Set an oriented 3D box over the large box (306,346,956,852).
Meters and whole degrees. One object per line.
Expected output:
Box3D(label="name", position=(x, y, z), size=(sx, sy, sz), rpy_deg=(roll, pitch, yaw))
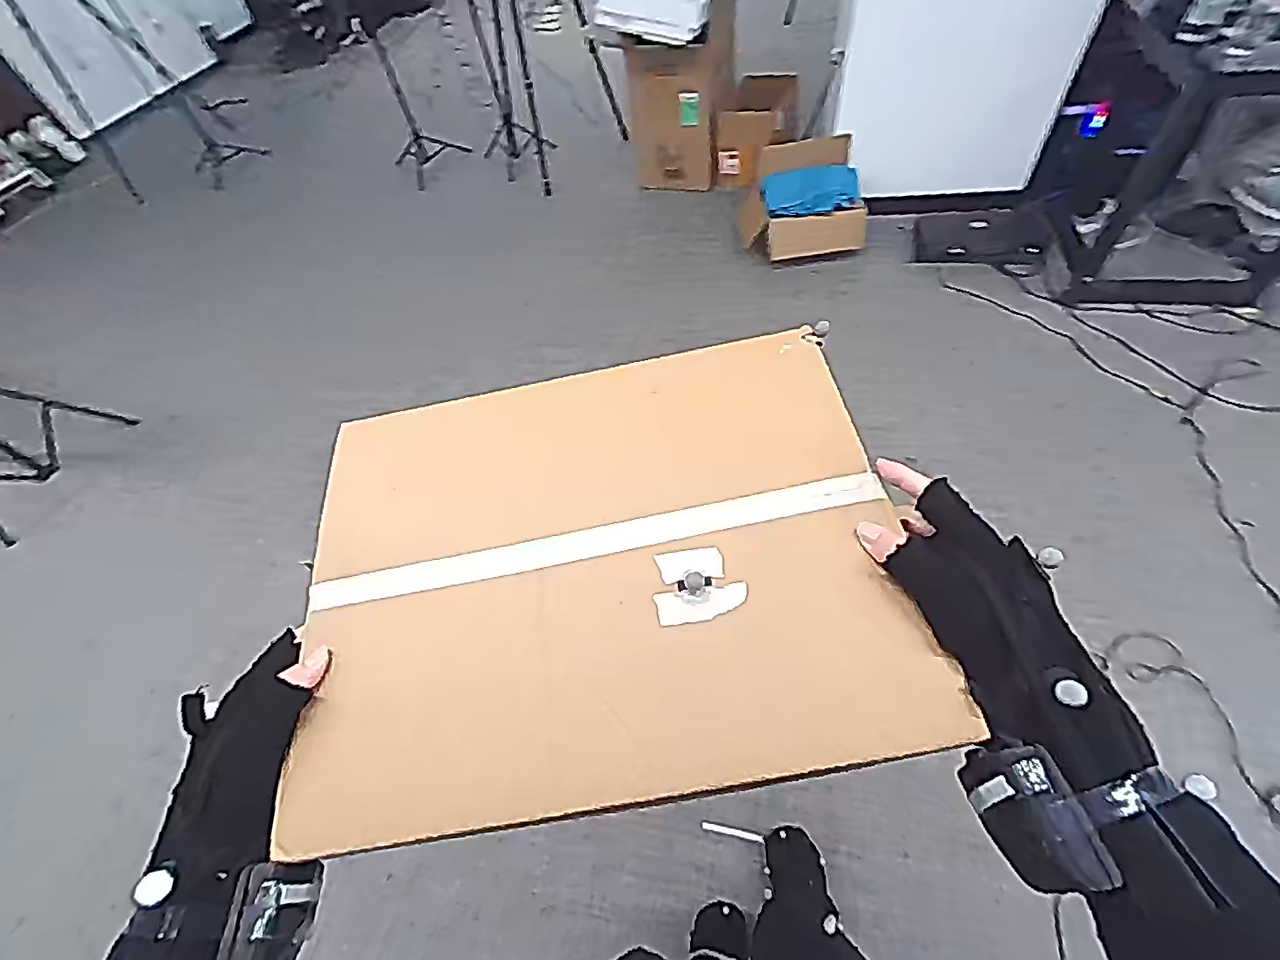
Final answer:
Box3D(label="large box", position=(-0.014, 0.127, 0.521), size=(0.408, 0.320, 0.320), rpy_deg=(-12, 59, 2))
